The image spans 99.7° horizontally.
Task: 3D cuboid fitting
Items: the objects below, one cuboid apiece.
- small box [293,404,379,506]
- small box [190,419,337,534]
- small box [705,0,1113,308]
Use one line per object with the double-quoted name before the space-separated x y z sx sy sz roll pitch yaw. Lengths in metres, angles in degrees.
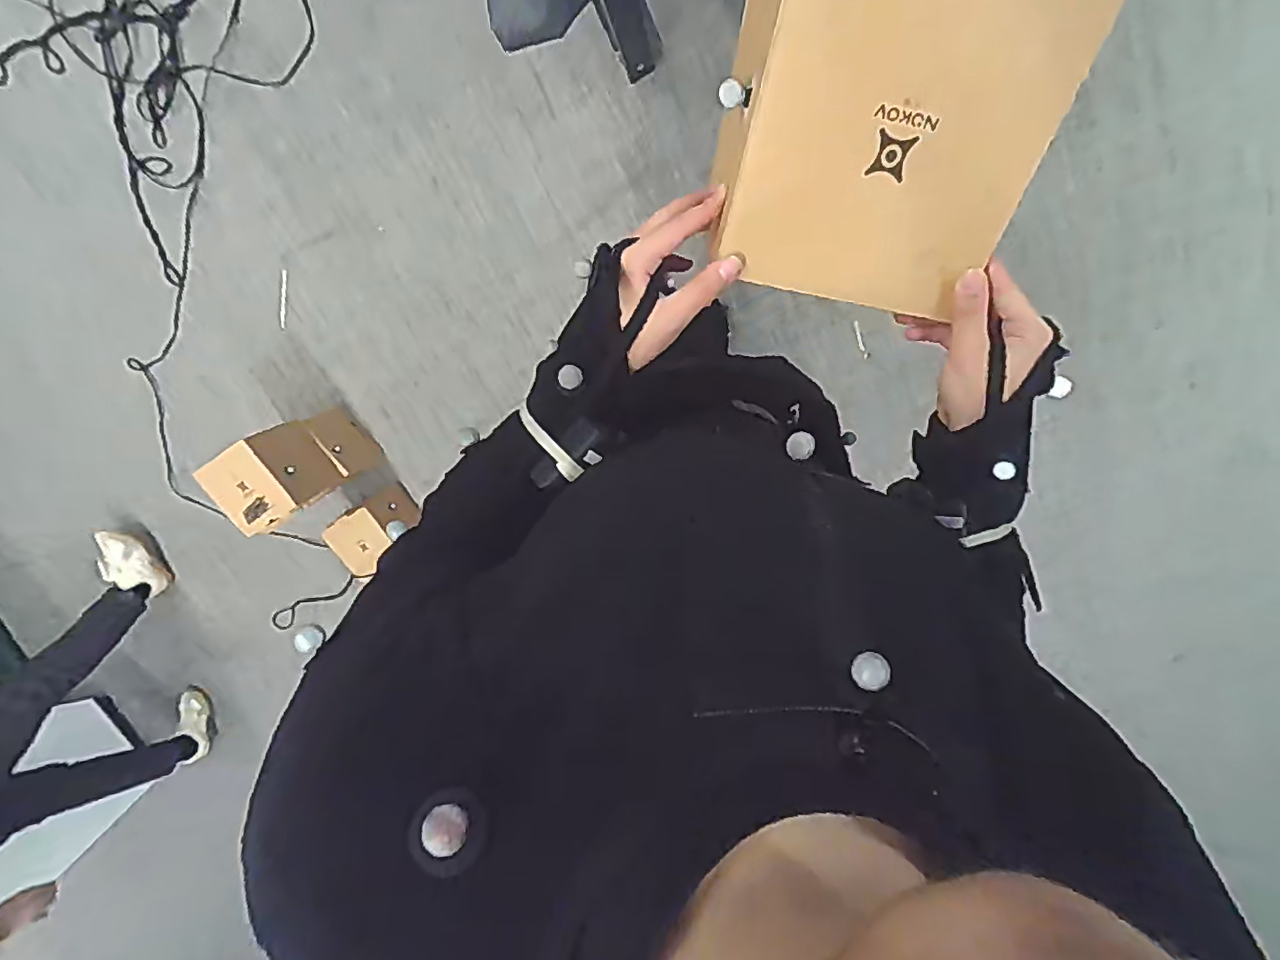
"small box" -0.812 -0.069 1.376 0.179 0.176 0.168 -32 105 17
"small box" -0.836 -0.013 1.222 0.168 0.176 0.179 -27 106 15
"small box" 0.143 -0.240 0.364 0.168 0.176 0.179 9 124 -4
